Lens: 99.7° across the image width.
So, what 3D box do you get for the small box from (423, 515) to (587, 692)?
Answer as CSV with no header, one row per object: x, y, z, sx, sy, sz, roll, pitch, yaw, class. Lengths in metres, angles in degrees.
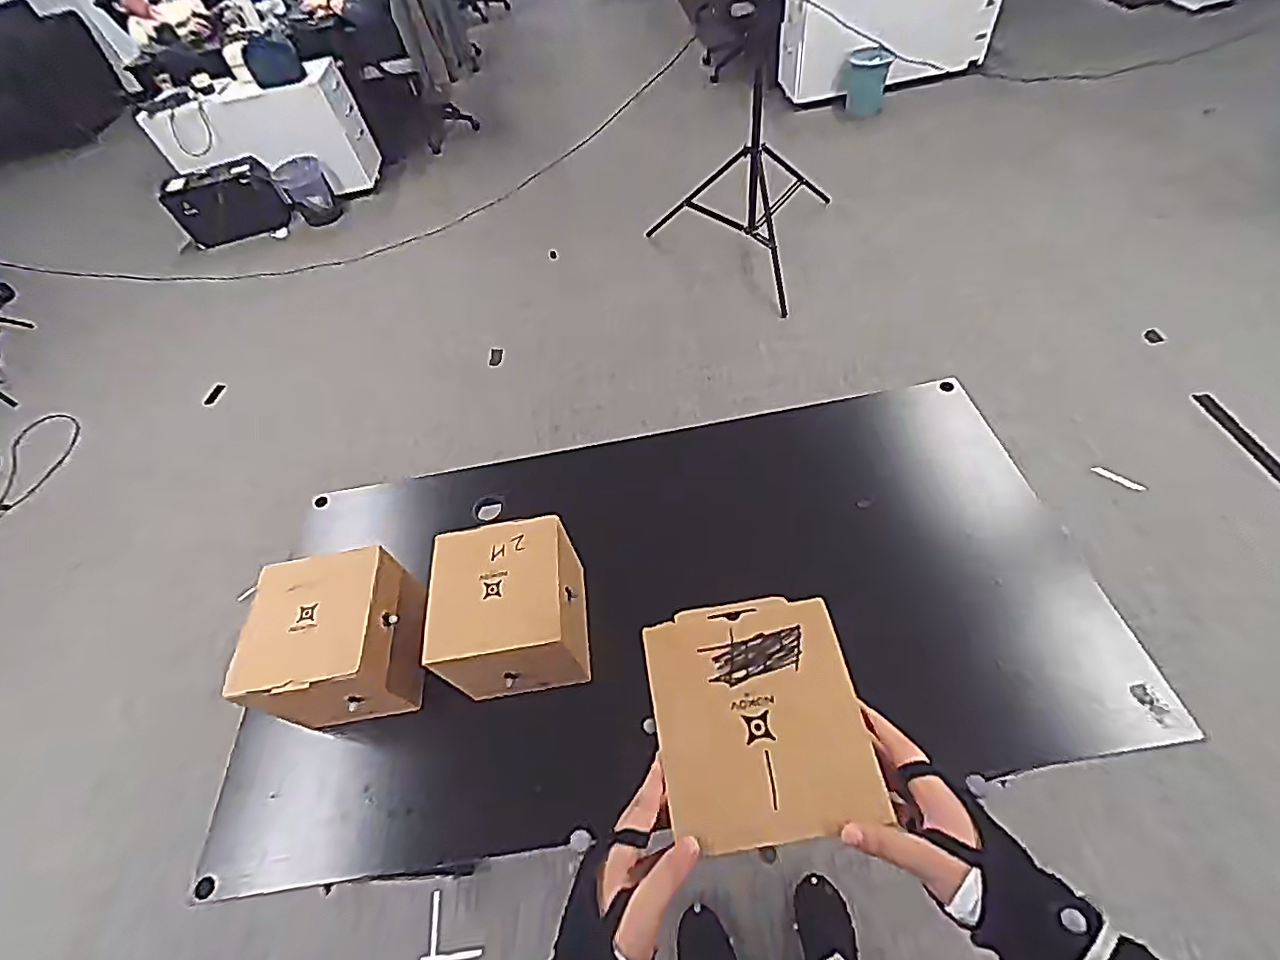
-0.170,0.174,0.730,0.168,0.176,0.179,-10,54,1,small box

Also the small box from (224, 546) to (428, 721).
-0.406,0.217,0.740,0.168,0.176,0.179,-10,53,0,small box

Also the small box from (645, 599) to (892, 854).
0.101,0.233,0.507,0.168,0.176,0.179,-10,58,1,small box
